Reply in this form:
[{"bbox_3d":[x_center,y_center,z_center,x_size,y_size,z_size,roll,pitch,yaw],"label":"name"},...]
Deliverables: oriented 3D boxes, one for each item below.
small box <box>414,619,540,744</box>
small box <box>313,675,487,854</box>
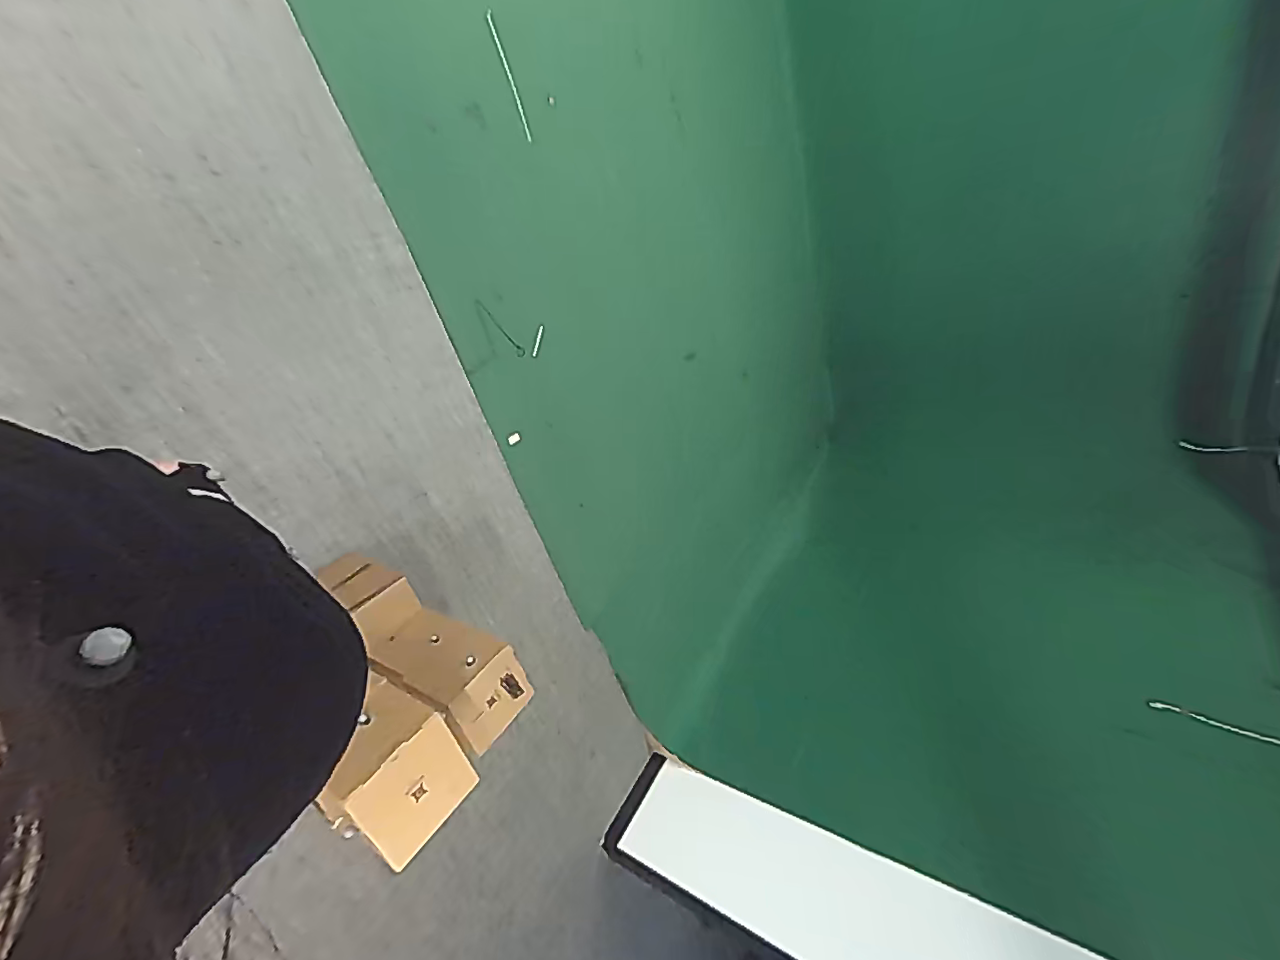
[{"bbox_3d":[-0.359,0.437,1.201,0.179,0.176,0.168,-45,129,-41],"label":"small box"},{"bbox_3d":[-0.392,0.456,0.893,0.168,0.176,0.179,-42,126,-40],"label":"small box"}]
